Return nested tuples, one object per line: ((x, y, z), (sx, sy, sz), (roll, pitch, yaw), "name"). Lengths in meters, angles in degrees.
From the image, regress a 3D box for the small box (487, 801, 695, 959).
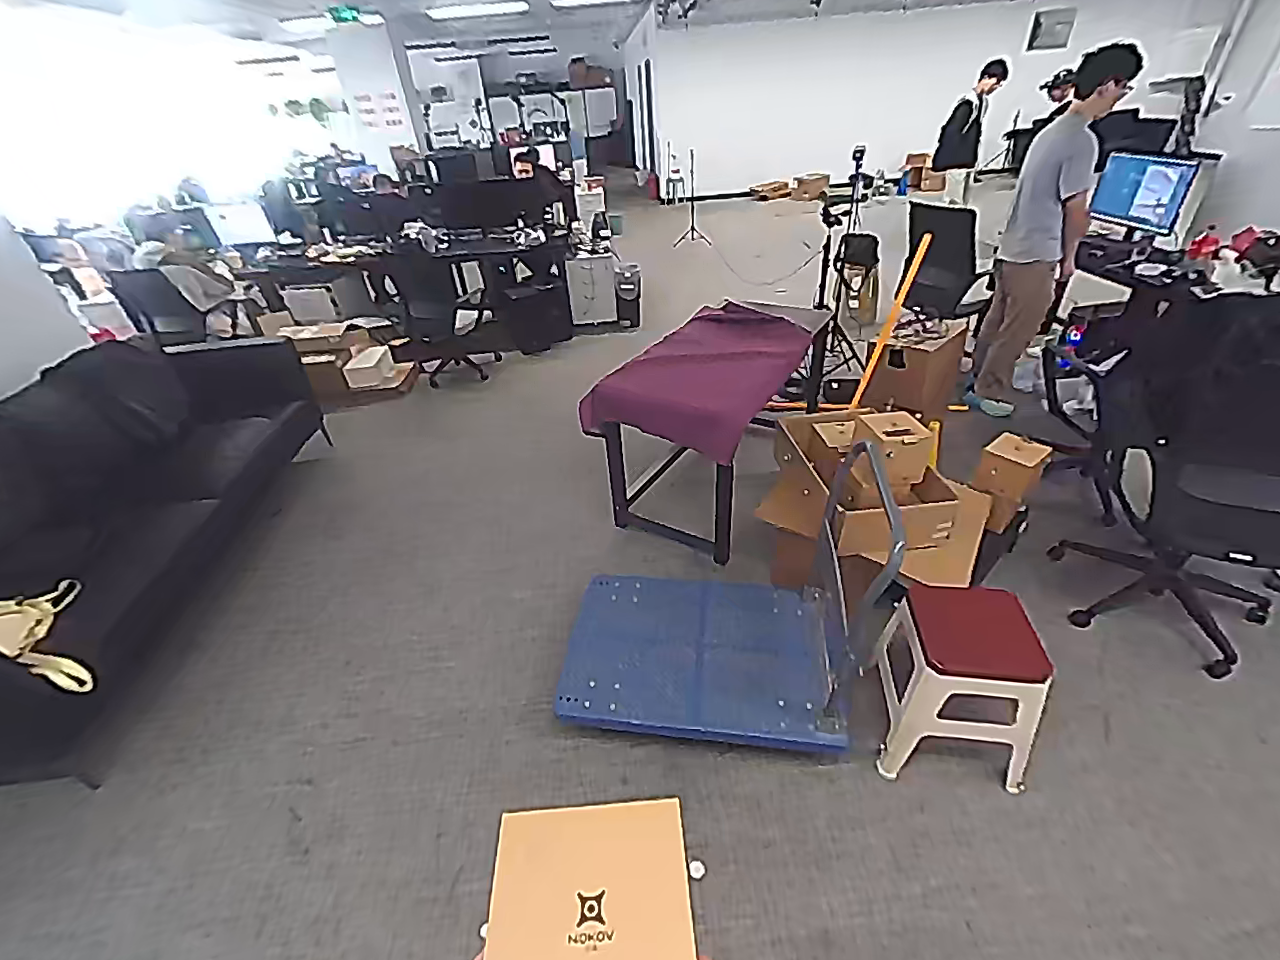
((-0.037, 0.422, 0.488), (0.168, 0.176, 0.179), (-4, 37, 0), "small box")
